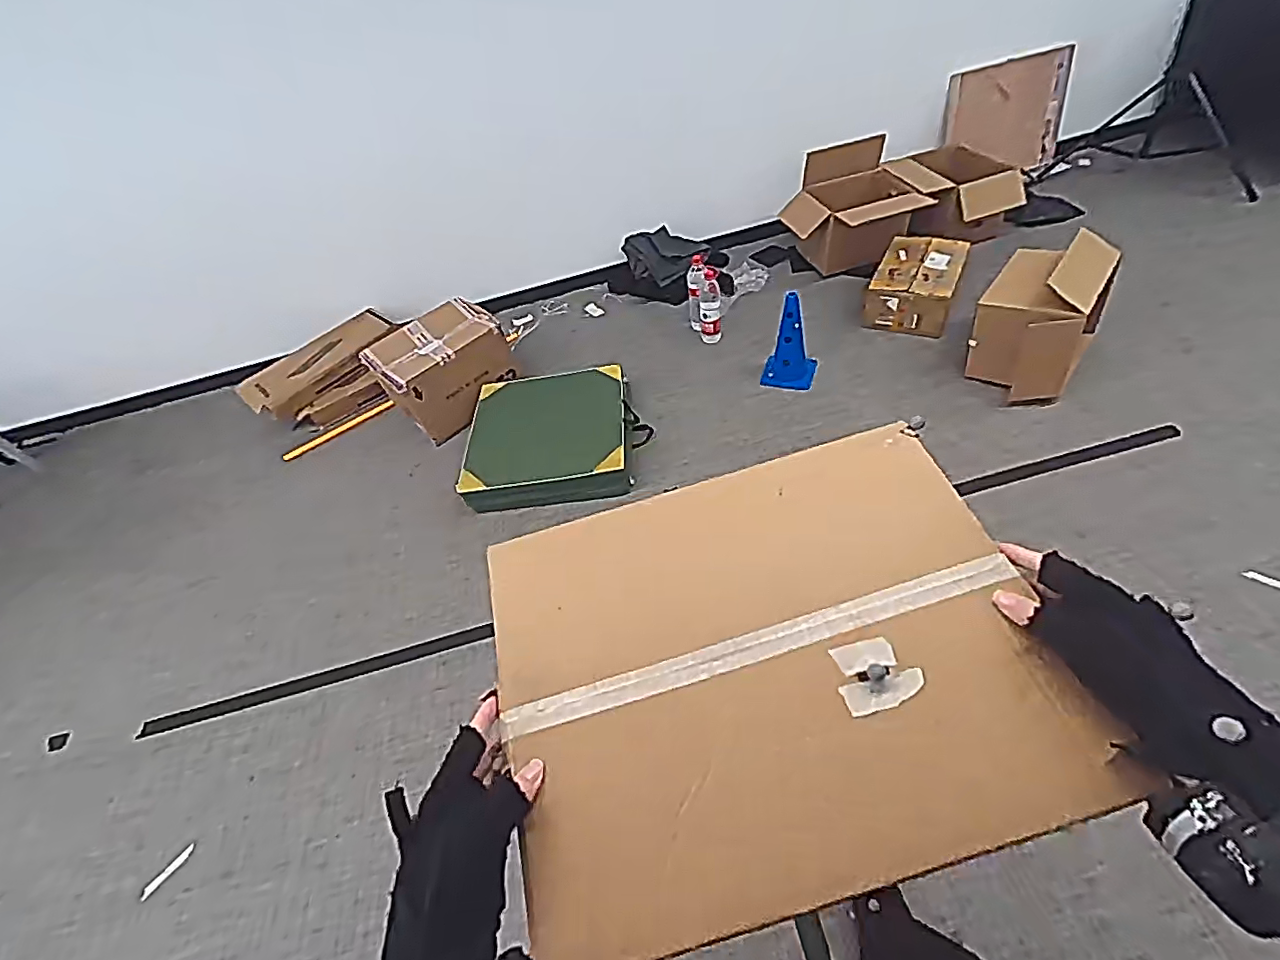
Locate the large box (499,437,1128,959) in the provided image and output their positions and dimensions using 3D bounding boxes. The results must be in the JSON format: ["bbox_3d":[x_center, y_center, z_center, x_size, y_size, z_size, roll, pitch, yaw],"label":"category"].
[{"bbox_3d":[0.114,0.218,0.551,0.408,0.320,0.320,-17,56,-2],"label":"large box"}]
